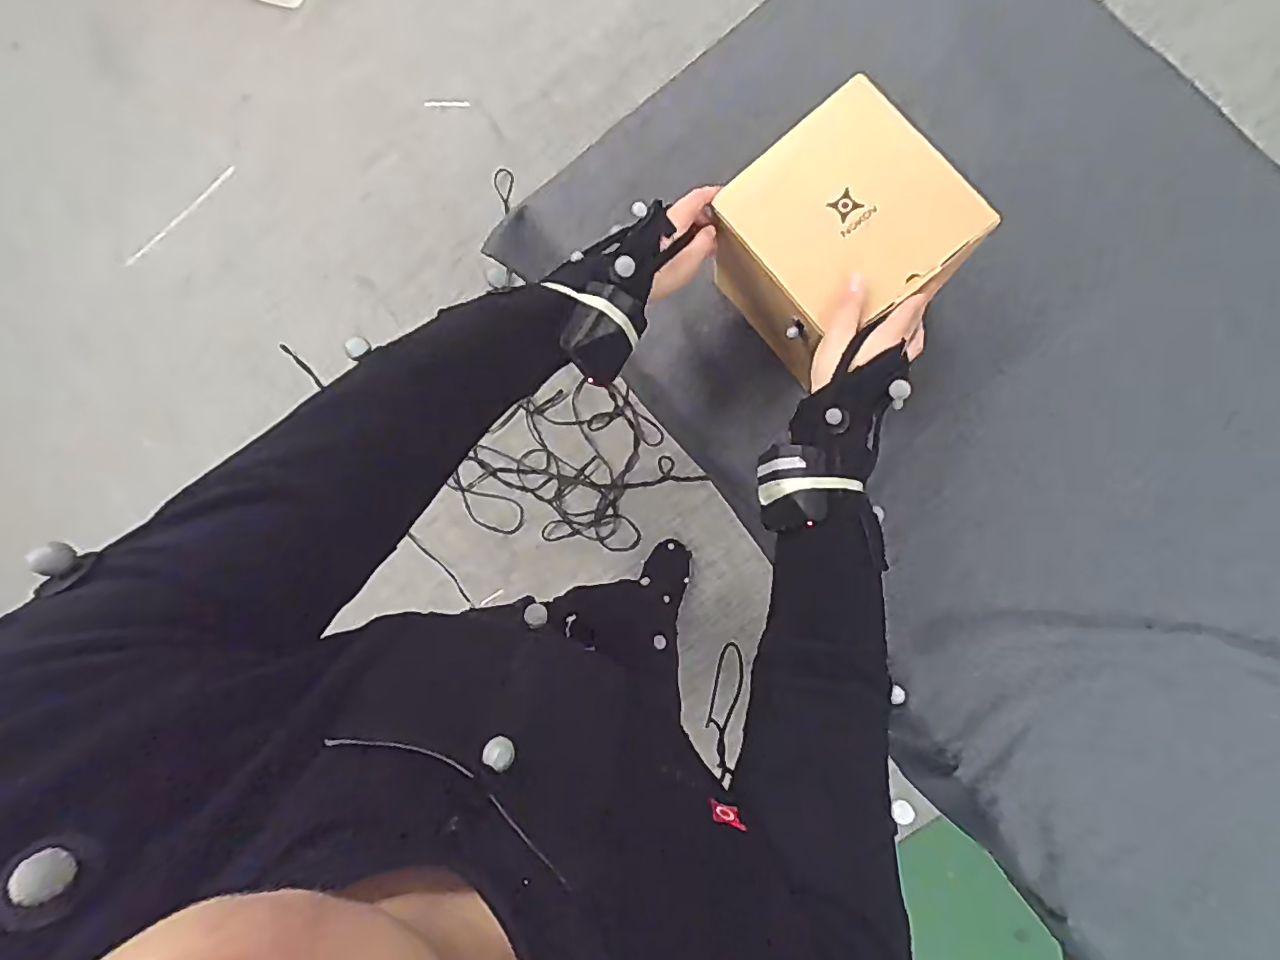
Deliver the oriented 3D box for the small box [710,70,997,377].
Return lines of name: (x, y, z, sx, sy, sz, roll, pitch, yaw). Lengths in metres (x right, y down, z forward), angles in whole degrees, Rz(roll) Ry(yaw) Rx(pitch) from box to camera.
small box: (0.185, -0.228, 0.530, 0.168, 0.176, 0.179, -39, 82, 6)
